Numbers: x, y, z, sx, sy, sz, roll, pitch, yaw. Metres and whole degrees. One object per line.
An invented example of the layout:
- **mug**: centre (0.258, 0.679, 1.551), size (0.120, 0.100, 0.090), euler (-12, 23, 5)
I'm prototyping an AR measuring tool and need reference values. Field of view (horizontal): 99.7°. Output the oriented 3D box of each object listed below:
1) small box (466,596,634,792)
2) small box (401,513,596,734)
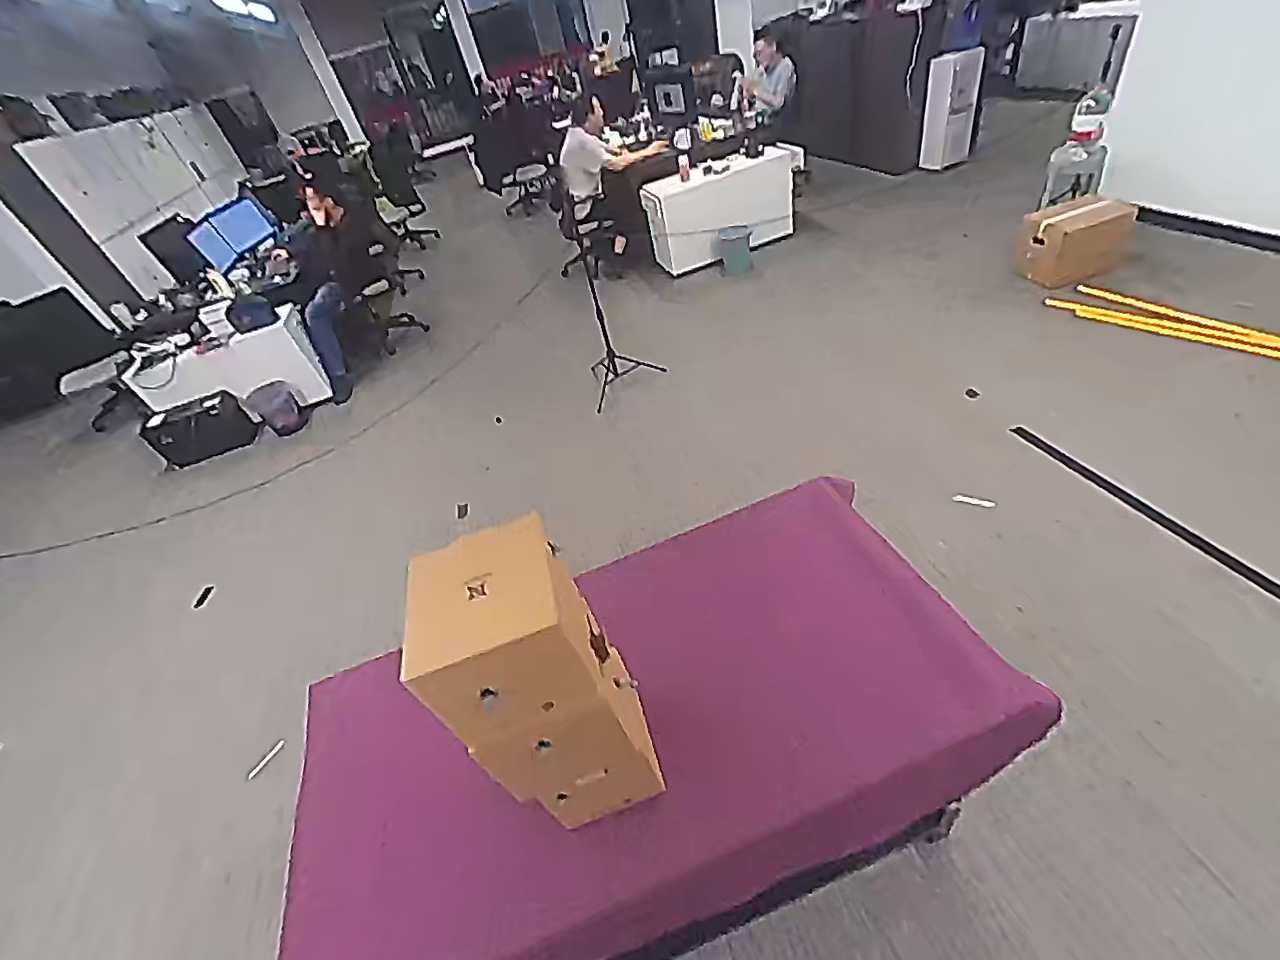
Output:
- **small box**: centre (-0.125, 0.299, 0.752), size (0.179, 0.176, 0.168), euler (-20, 41, -4)
- **small box**: centre (-0.163, 0.177, 0.651), size (0.168, 0.176, 0.179), euler (-20, 40, -4)
